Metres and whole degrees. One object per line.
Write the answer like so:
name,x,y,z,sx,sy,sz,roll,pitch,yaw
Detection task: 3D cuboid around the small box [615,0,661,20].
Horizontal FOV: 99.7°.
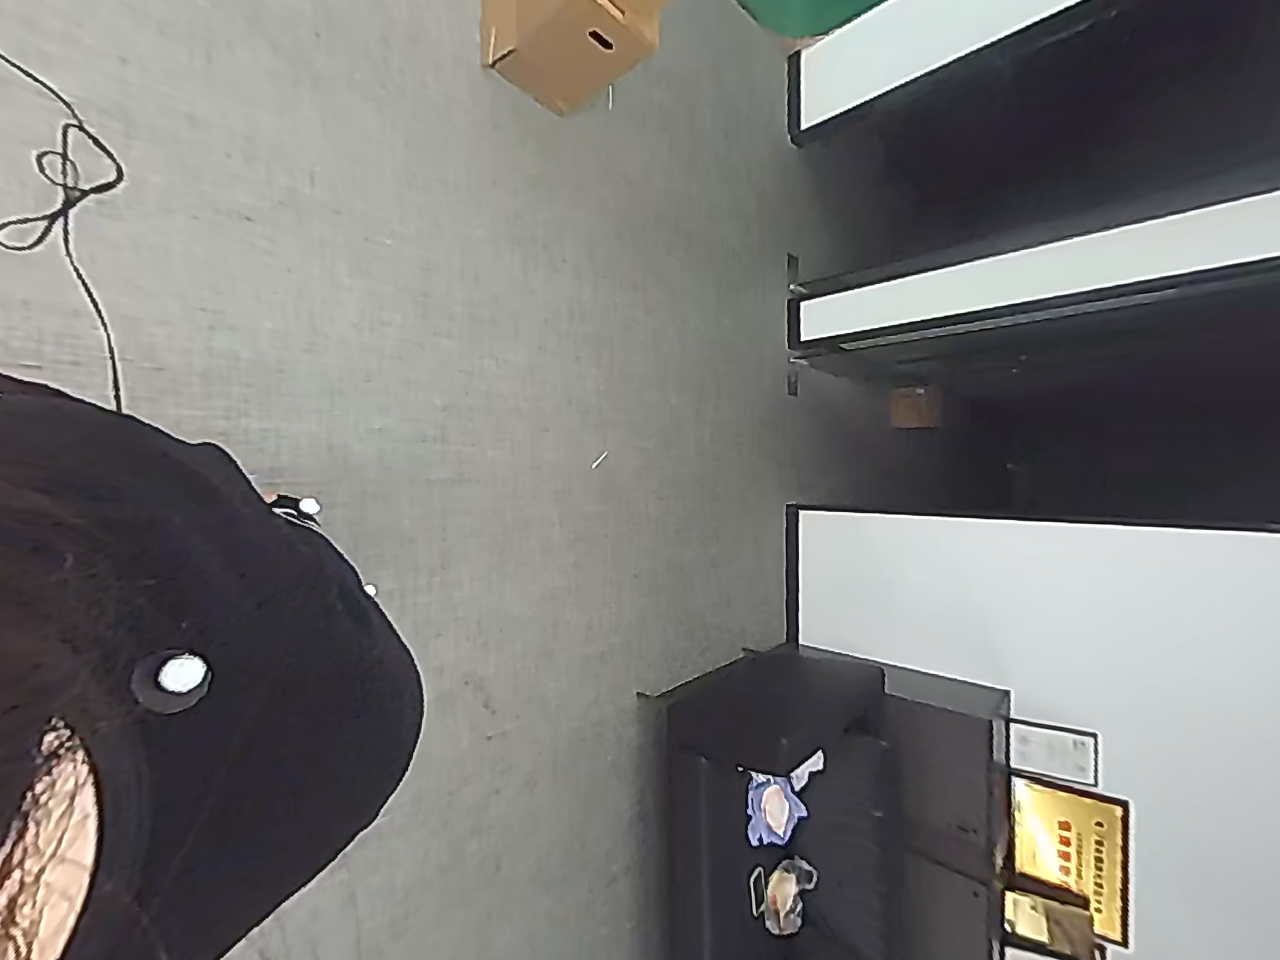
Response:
small box,-0.006,-1.389,1.434,0.179,0.176,0.168,4,86,-47
